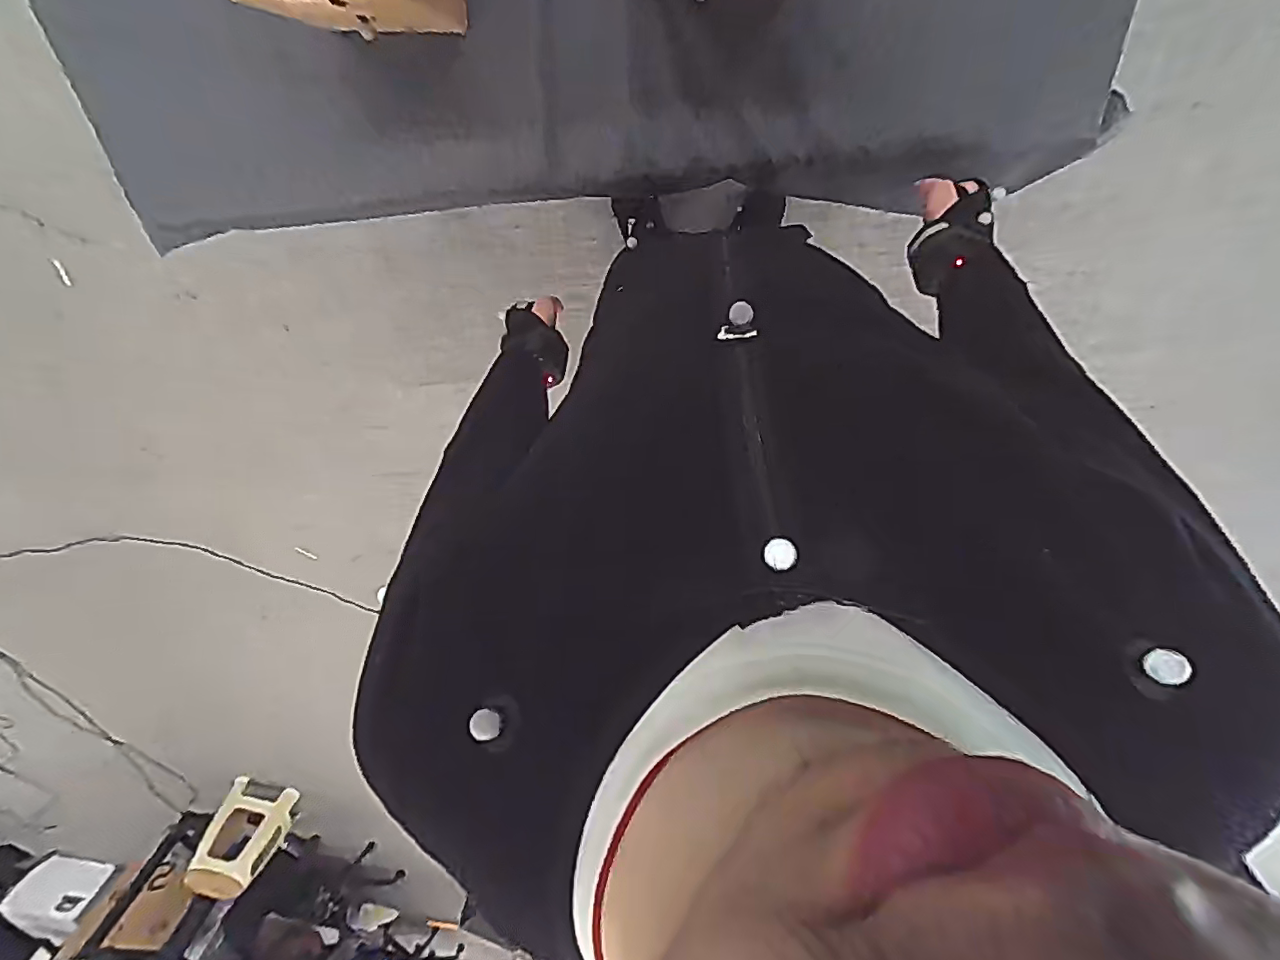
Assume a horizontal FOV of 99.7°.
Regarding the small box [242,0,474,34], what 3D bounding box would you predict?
[{"bbox_3d":[-0.272,-0.541,0.506,0.168,0.176,0.179,2,121,7],"label":"small box"}]
